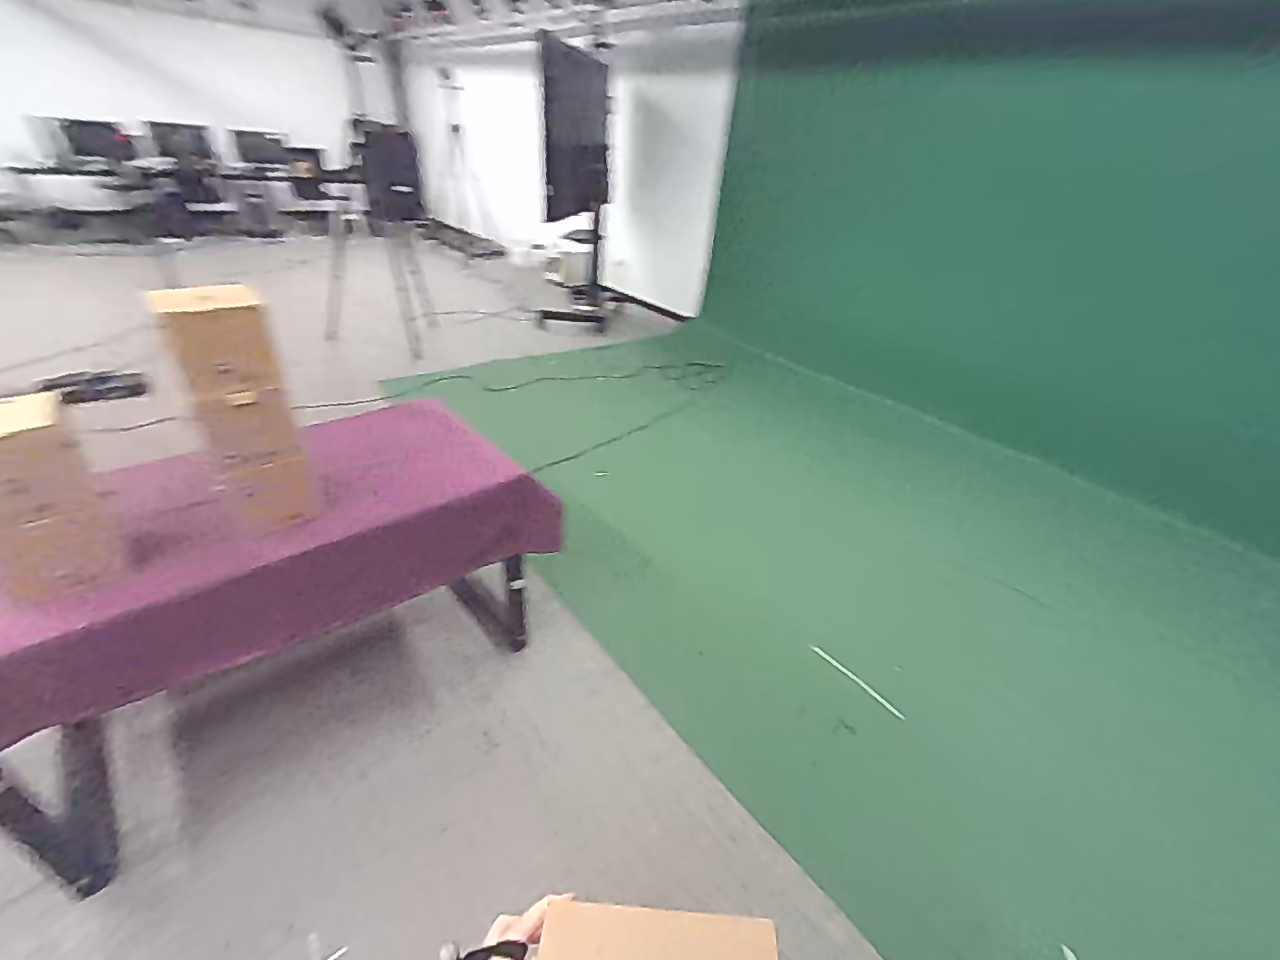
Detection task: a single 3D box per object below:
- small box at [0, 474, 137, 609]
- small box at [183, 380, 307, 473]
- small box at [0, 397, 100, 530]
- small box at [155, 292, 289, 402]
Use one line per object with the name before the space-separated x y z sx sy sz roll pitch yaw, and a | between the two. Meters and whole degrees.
small box | -1.119 0.116 1.050 0.168 0.176 0.179 -21 40 -35
small box | -0.851 -0.130 1.174 0.168 0.176 0.179 -22 39 -37
small box | -1.109 -0.026 0.965 0.168 0.176 0.179 -20 40 -36
small box | -0.843 -0.273 1.097 0.168 0.176 0.179 -23 41 -38
